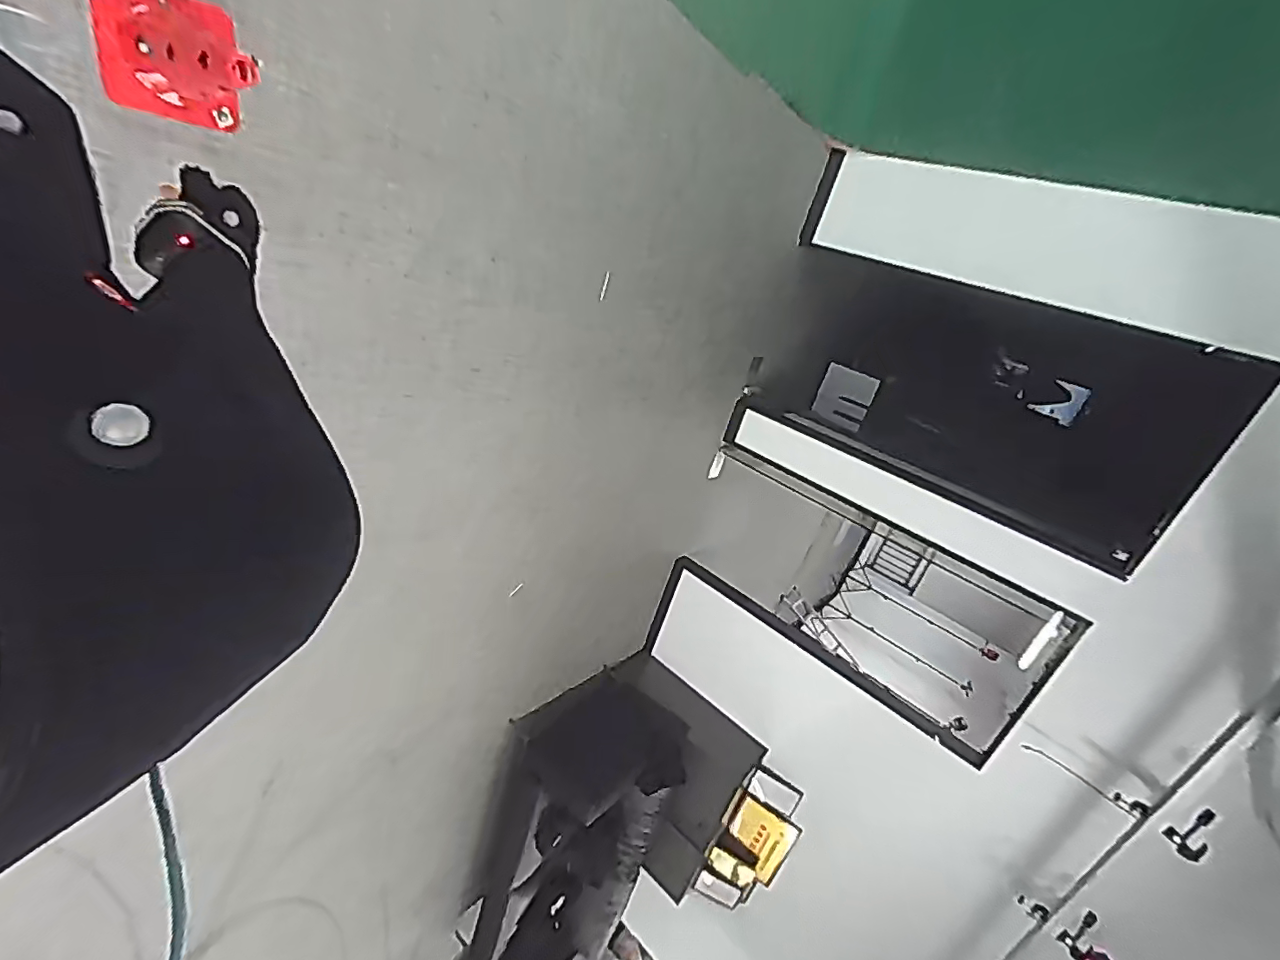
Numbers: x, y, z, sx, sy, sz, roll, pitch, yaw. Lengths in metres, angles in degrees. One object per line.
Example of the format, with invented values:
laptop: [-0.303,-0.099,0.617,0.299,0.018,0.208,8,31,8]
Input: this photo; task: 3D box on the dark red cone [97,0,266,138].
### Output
dark red cone: [-0.702,-0.675,0.882,0.202,0.394,0.201,-18,130,-48]
